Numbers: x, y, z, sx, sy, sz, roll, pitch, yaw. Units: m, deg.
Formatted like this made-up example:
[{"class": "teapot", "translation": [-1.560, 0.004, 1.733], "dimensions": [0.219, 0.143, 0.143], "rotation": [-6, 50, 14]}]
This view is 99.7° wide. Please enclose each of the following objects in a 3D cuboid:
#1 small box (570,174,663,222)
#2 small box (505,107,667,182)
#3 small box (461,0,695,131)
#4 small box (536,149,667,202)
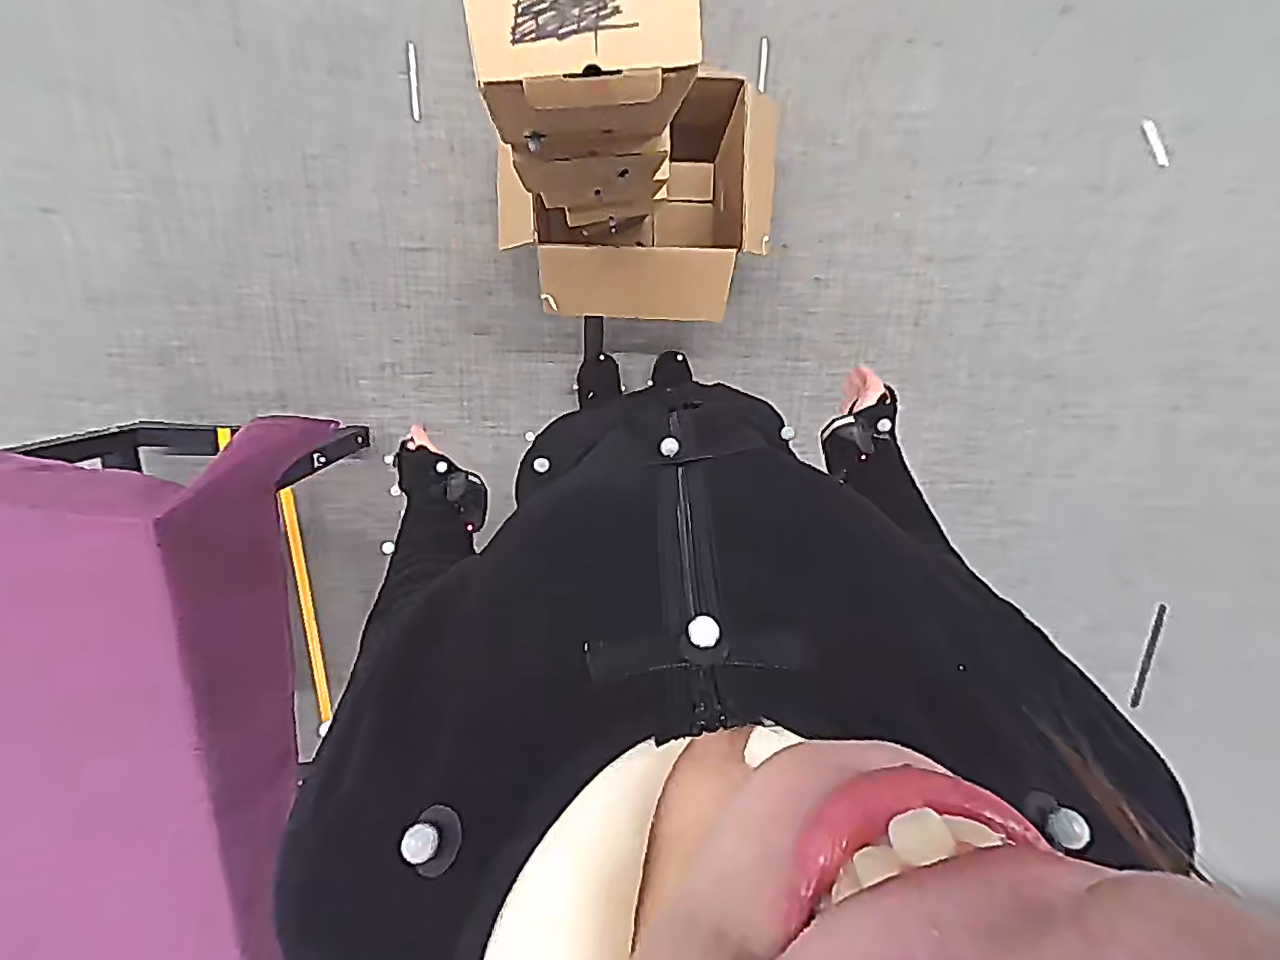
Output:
[{"class": "small box", "translation": [-0.069, -0.623, 1.057], "dimensions": [0.179, 0.176, 0.168], "rotation": [-21, 110, 0]}, {"class": "small box", "translation": [-0.065, -0.440, 0.599], "dimensions": [0.168, 0.176, 0.179], "rotation": [-6, 109, -5]}, {"class": "small box", "translation": [-0.055, -0.403, 0.438], "dimensions": [0.168, 0.176, 0.179], "rotation": [-8, 109, -5]}, {"class": "small box", "translation": [-0.064, -0.495, 0.753], "dimensions": [0.179, 0.176, 0.168], "rotation": [-7, 111, -4]}]
